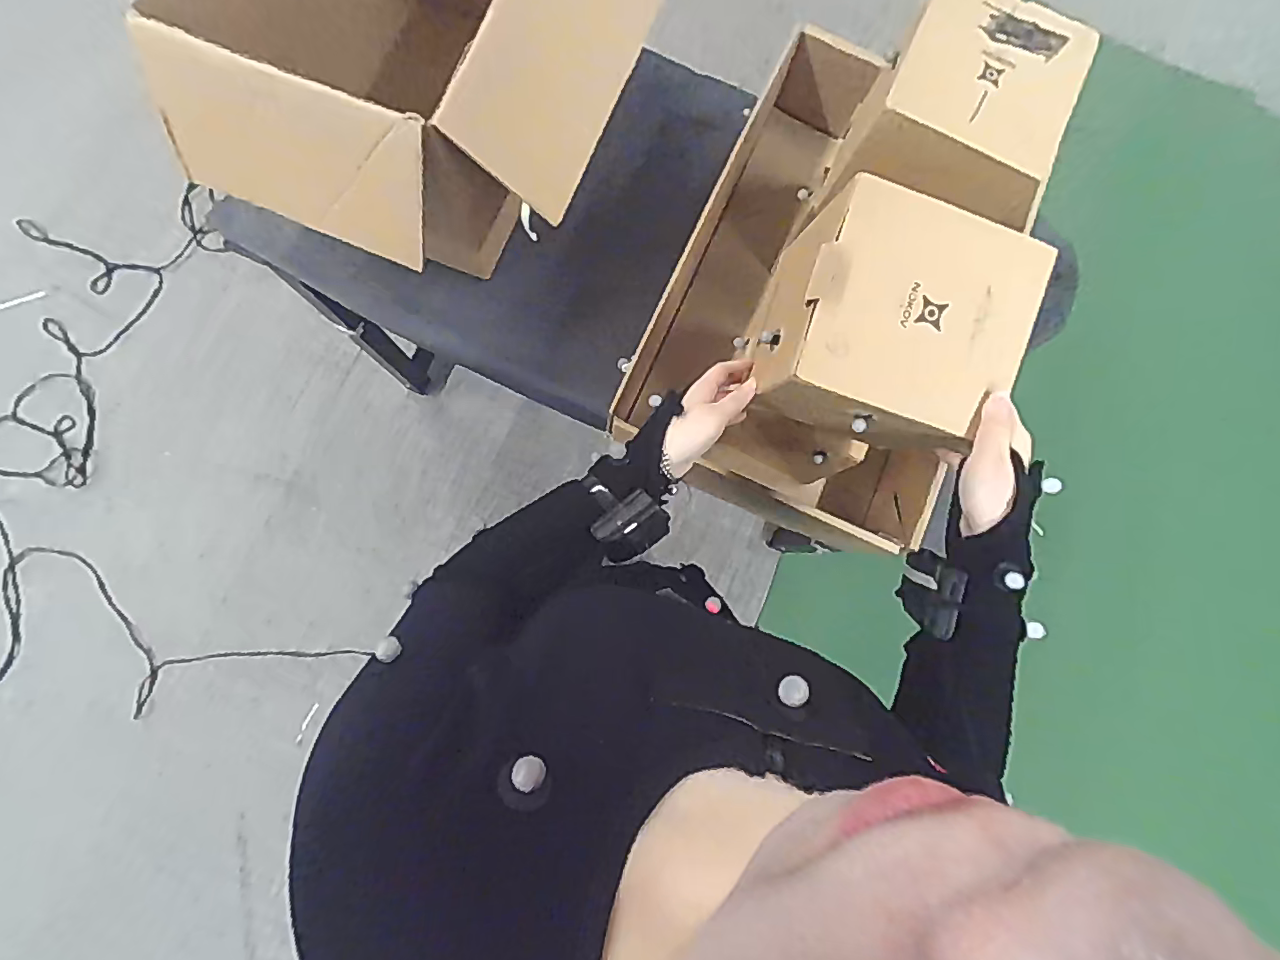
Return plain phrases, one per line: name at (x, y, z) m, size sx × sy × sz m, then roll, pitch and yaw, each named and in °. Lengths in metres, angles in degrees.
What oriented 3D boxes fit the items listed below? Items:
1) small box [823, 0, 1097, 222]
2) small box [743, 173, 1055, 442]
small box at (0.326, -0.373, 0.587) m, size 0.168 × 0.176 × 0.179 m, roll 26°, pitch 83°, yaw -1°
small box at (0.213, -0.135, 0.496) m, size 0.179 × 0.176 × 0.168 m, roll 17°, pitch 92°, yaw -6°
